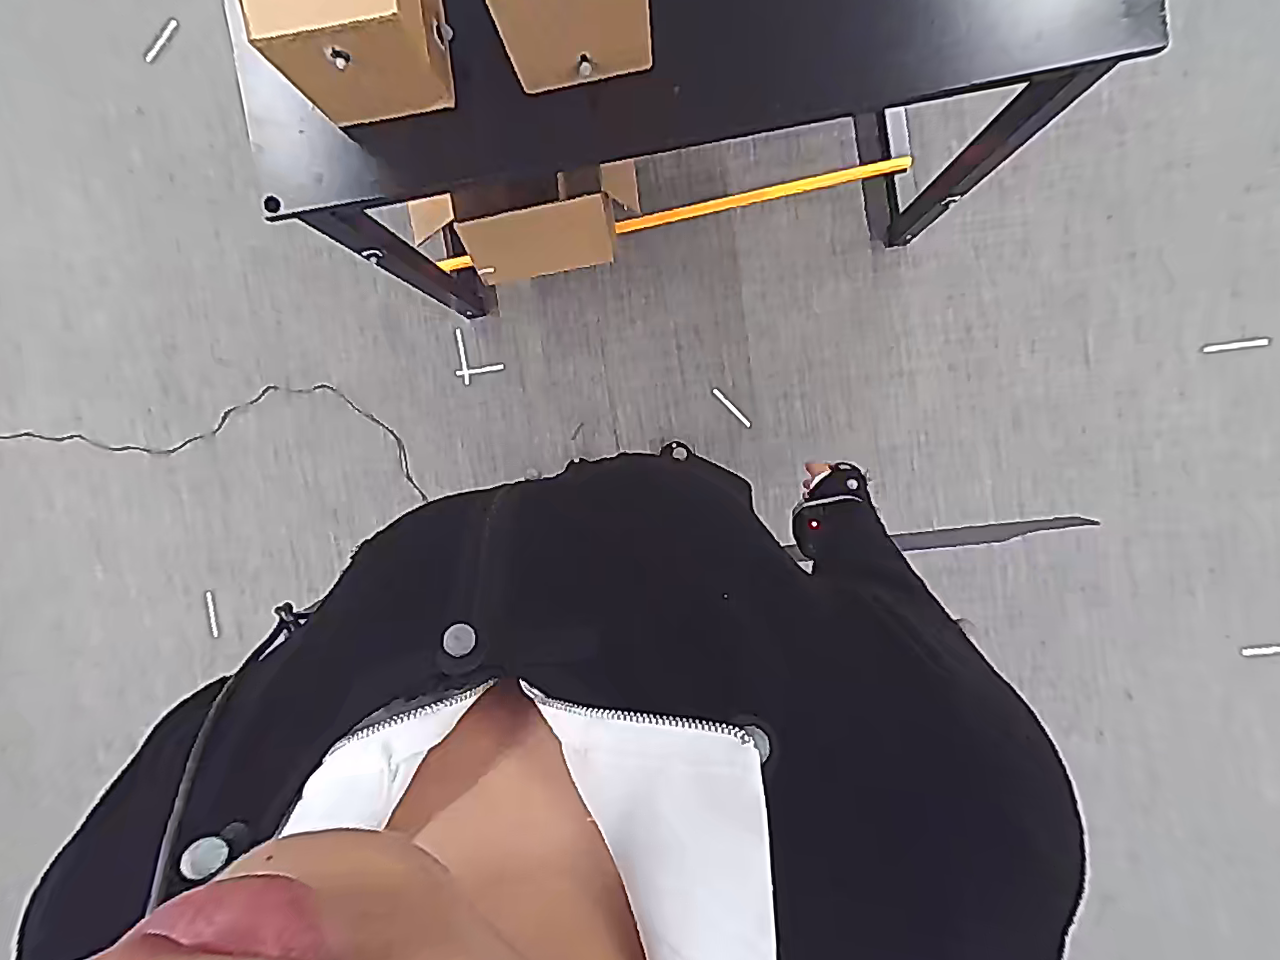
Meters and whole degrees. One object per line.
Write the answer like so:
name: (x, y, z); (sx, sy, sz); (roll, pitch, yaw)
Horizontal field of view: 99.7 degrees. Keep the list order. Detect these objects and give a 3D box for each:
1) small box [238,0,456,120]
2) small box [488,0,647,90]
small box: (-0.347, -0.570, 0.651); (0.179, 0.176, 0.168); (-8, 95, 3)
small box: (-0.086, -0.604, 0.634); (0.179, 0.176, 0.168); (-9, 93, 3)
